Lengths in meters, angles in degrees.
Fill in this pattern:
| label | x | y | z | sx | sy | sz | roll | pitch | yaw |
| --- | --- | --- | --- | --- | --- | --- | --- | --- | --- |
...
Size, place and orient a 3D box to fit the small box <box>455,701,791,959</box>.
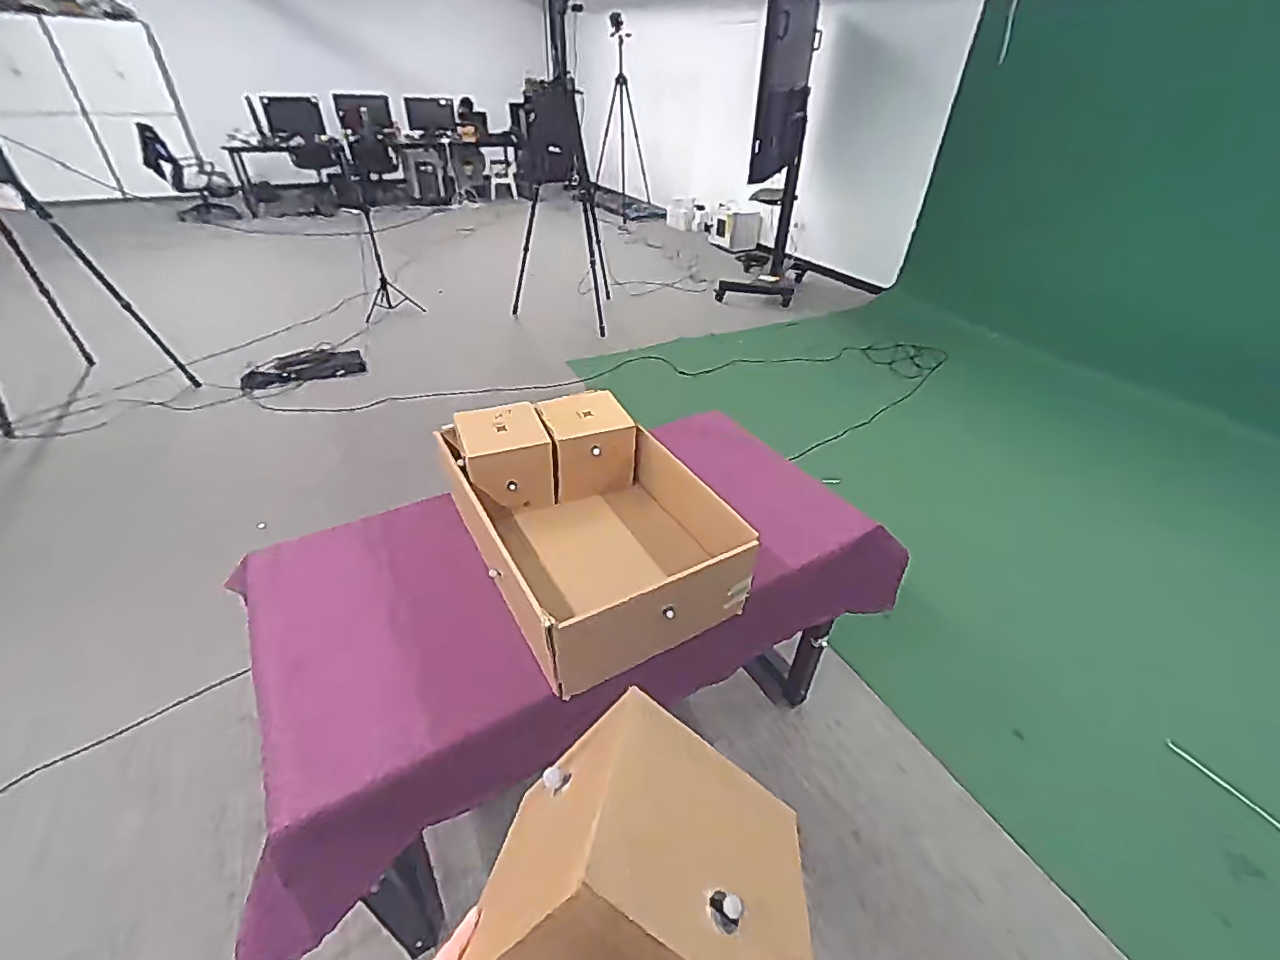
| label | x | y | z | sx | sy | sz | roll | pitch | yaw |
| --- | --- | --- | --- | --- | --- | --- | --- | --- | --- |
| small box | -0.002 | 0.308 | 0.404 | 0.179 | 0.168 | 0.176 | 39 | 18 | -2 |
